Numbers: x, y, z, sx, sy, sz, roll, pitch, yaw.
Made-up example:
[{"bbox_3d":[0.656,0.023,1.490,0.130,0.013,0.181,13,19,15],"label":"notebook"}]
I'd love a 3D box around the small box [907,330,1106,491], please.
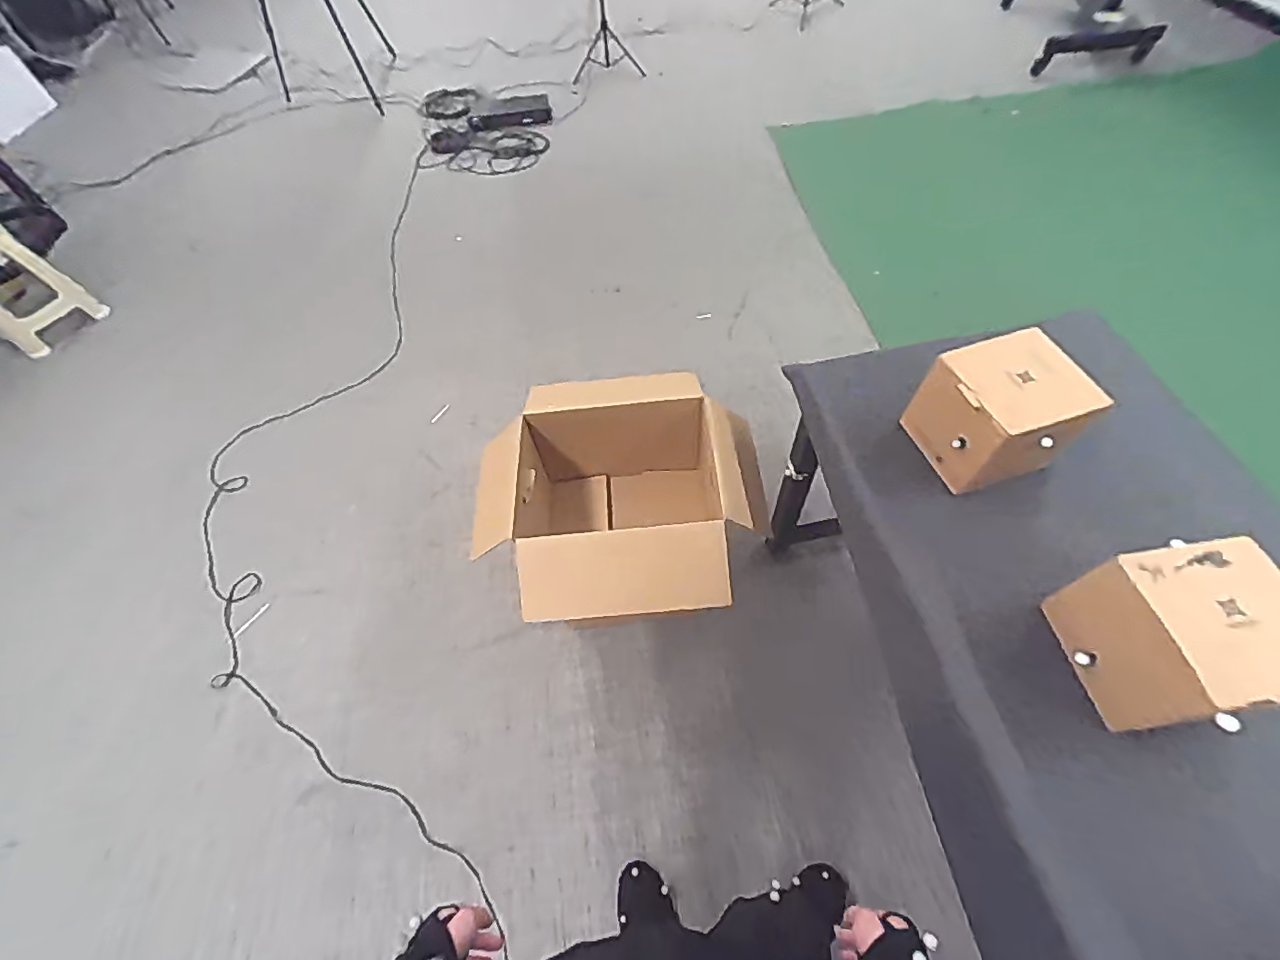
[{"bbox_3d":[0.558,-0.104,0.861,0.179,0.176,0.168,-16,59,-8],"label":"small box"}]

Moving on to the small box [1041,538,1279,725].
[{"bbox_3d":[0.653,0.194,0.663,0.168,0.176,0.179,-8,58,-1],"label":"small box"}]
